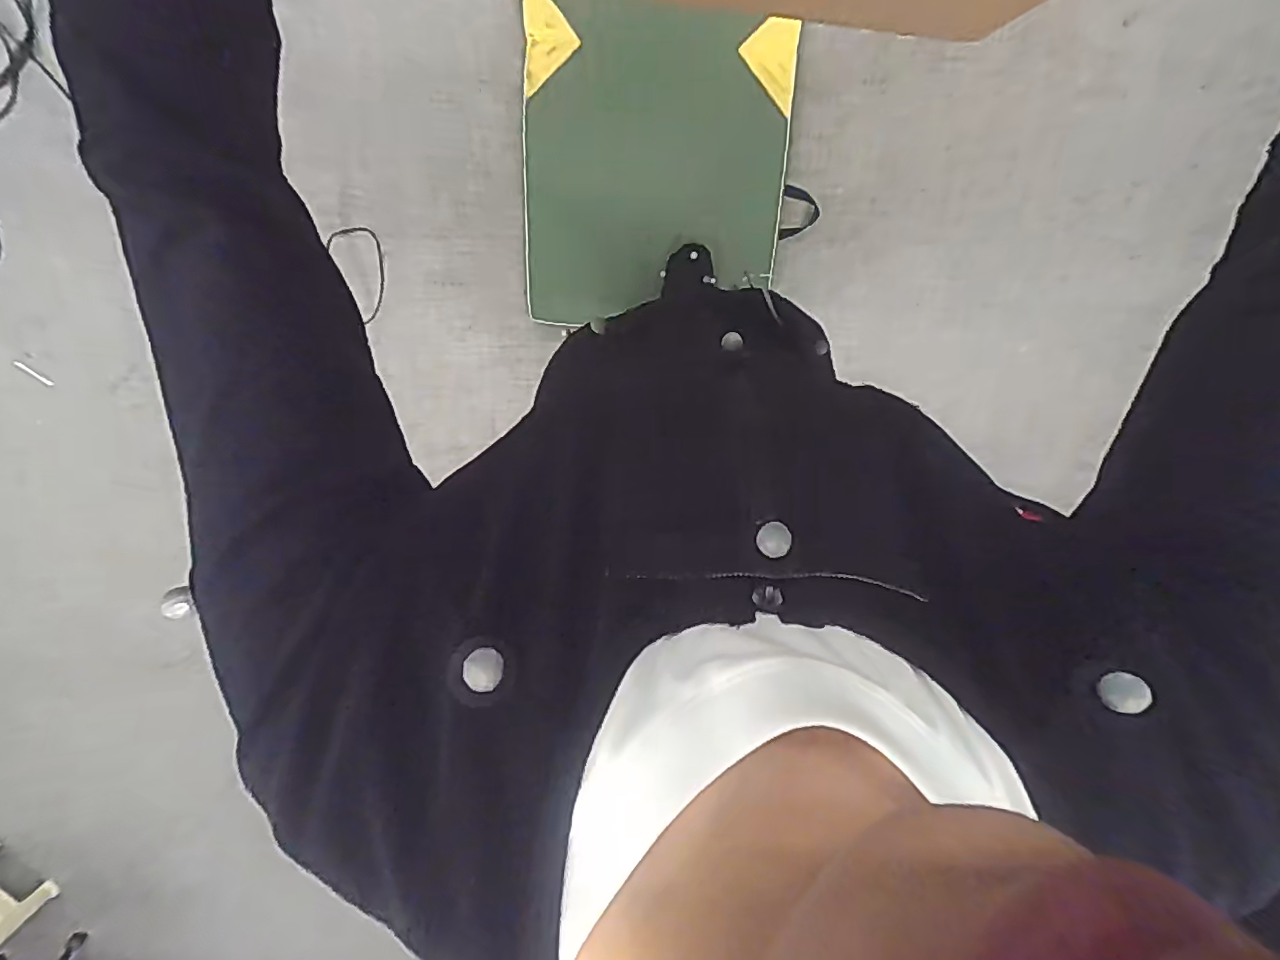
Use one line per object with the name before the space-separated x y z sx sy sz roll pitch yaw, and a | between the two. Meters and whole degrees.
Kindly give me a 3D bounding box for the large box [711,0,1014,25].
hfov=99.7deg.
large box | 0.106 -0.479 0.258 0.408 0.320 0.320 4 114 -3
